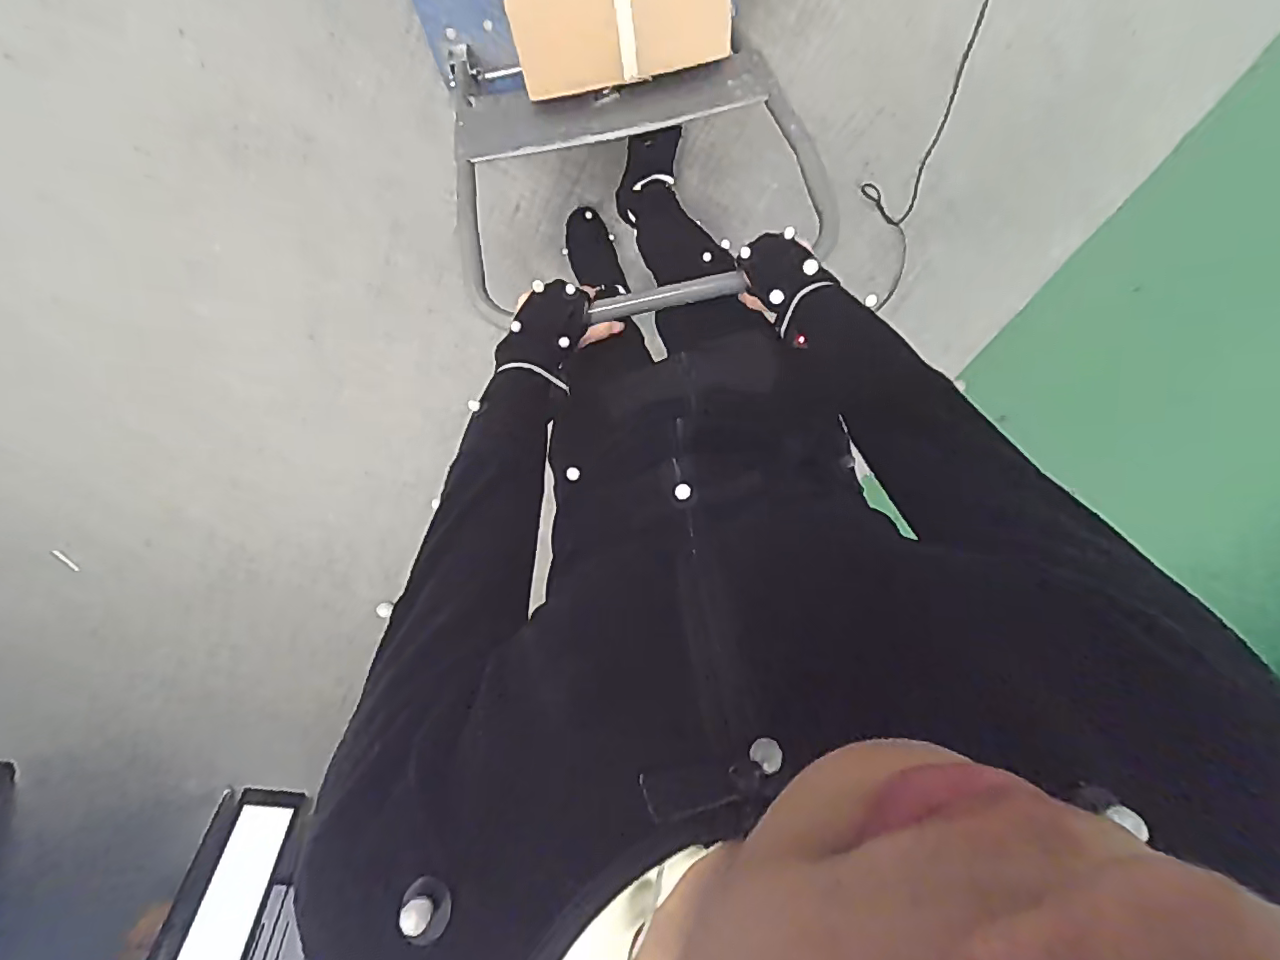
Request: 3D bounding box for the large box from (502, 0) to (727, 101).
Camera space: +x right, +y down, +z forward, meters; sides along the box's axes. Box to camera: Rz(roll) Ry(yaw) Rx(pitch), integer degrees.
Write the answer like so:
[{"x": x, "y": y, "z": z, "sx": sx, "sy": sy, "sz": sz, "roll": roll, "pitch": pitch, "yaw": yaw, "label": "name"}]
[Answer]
[{"x": -0.067, "y": -0.848, "z": 0.759, "sx": 0.320, "sy": 0.320, "sz": 0.408, "roll": -12, "pitch": 146, "yaw": 2, "label": "large box"}]
